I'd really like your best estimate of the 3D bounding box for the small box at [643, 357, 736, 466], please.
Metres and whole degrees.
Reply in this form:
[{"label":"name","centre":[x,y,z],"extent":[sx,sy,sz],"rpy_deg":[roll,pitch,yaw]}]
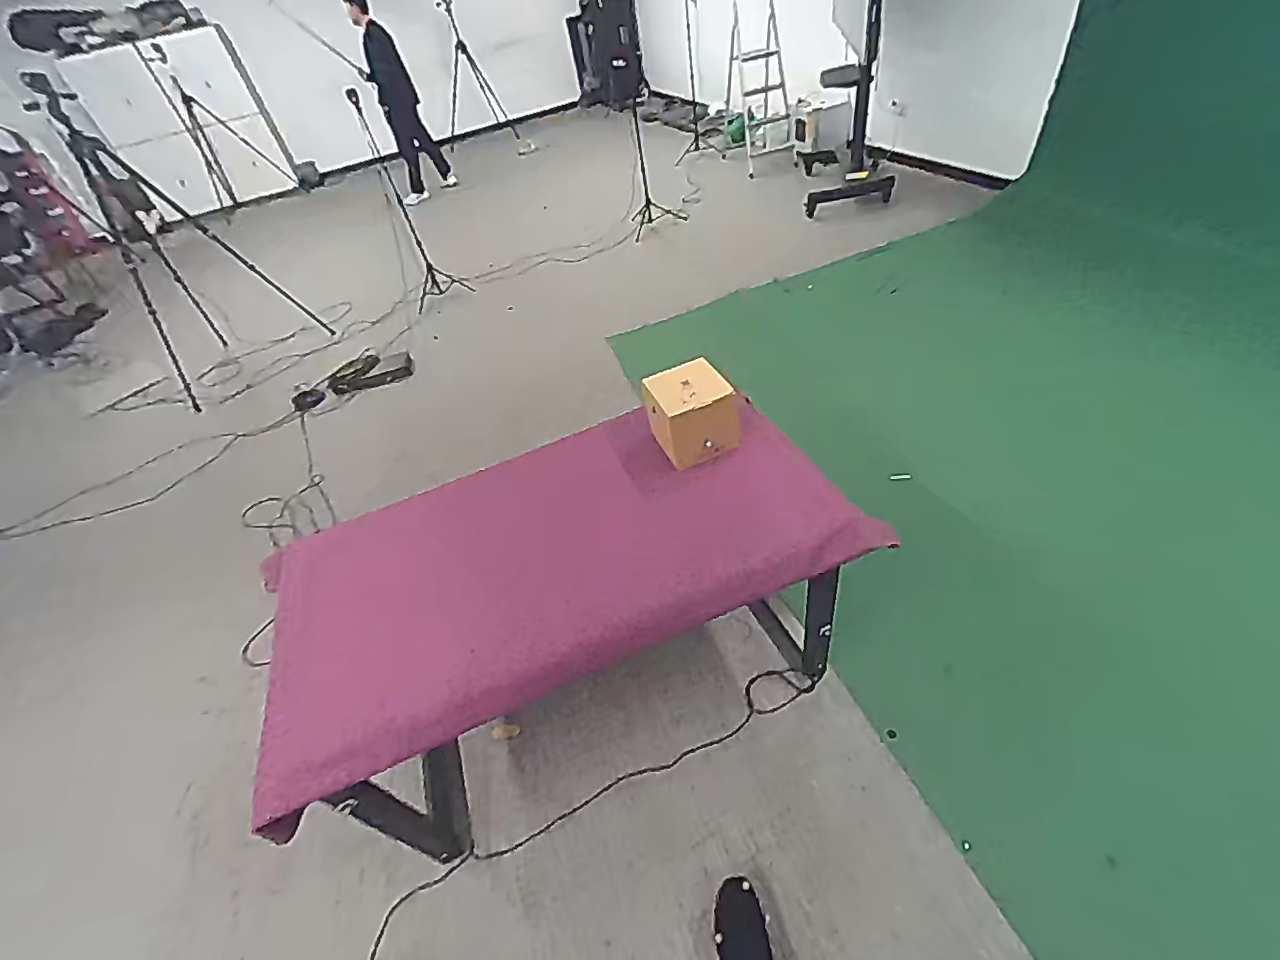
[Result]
[{"label":"small box","centre":[0.120,-0.164,1.301],"extent":[0.168,0.176,0.179],"rpy_deg":[-22,45,-8]}]
